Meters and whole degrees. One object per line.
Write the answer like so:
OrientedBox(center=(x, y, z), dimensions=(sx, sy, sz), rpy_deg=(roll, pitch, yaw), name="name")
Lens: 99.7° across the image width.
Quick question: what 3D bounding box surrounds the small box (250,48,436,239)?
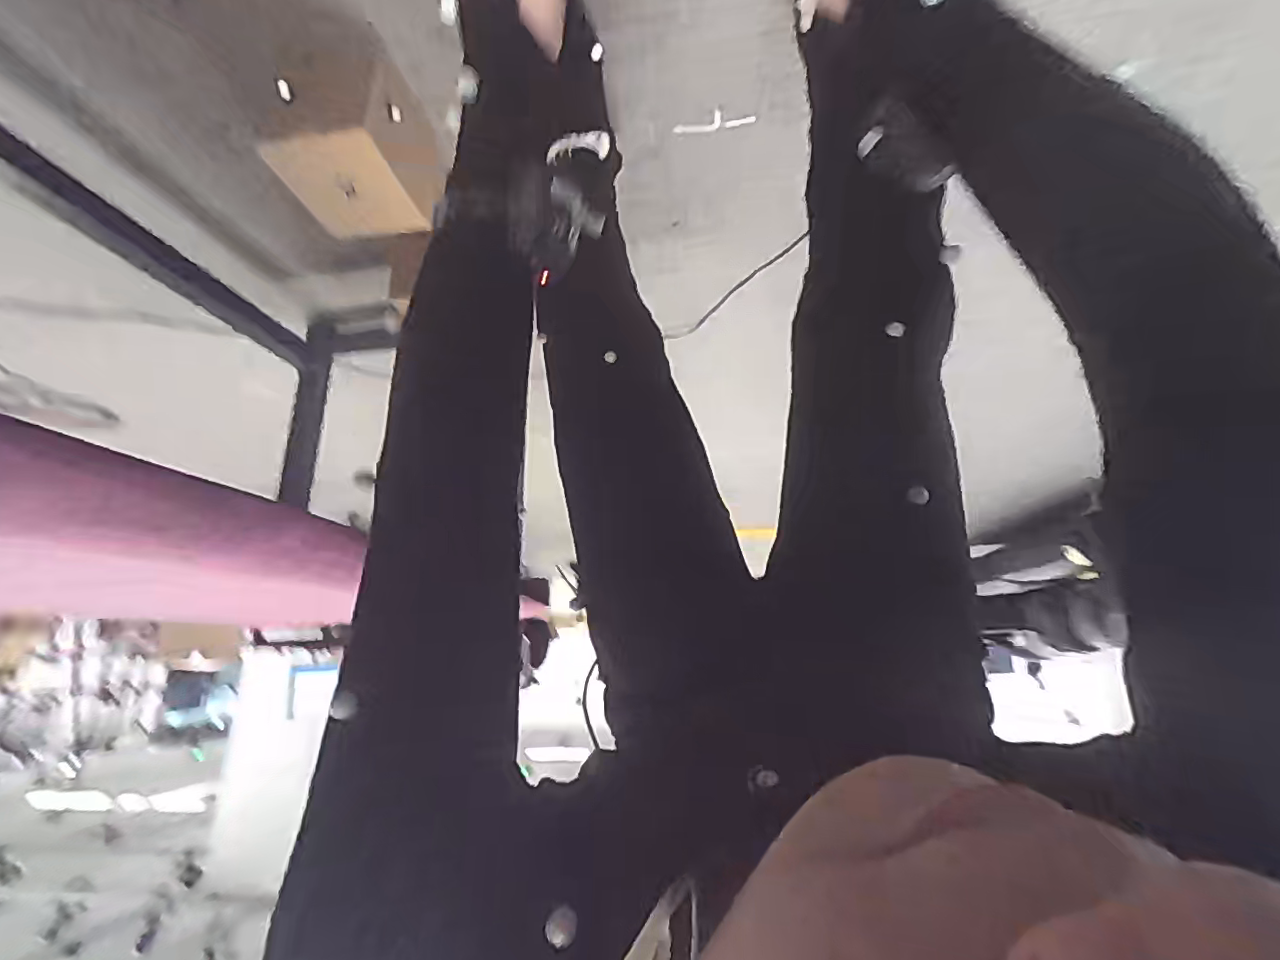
OrientedBox(center=(-0.423, -0.494, 0.799), dimensions=(0.168, 0.176, 0.179), rpy_deg=(-3, 163, 8), name="small box")
